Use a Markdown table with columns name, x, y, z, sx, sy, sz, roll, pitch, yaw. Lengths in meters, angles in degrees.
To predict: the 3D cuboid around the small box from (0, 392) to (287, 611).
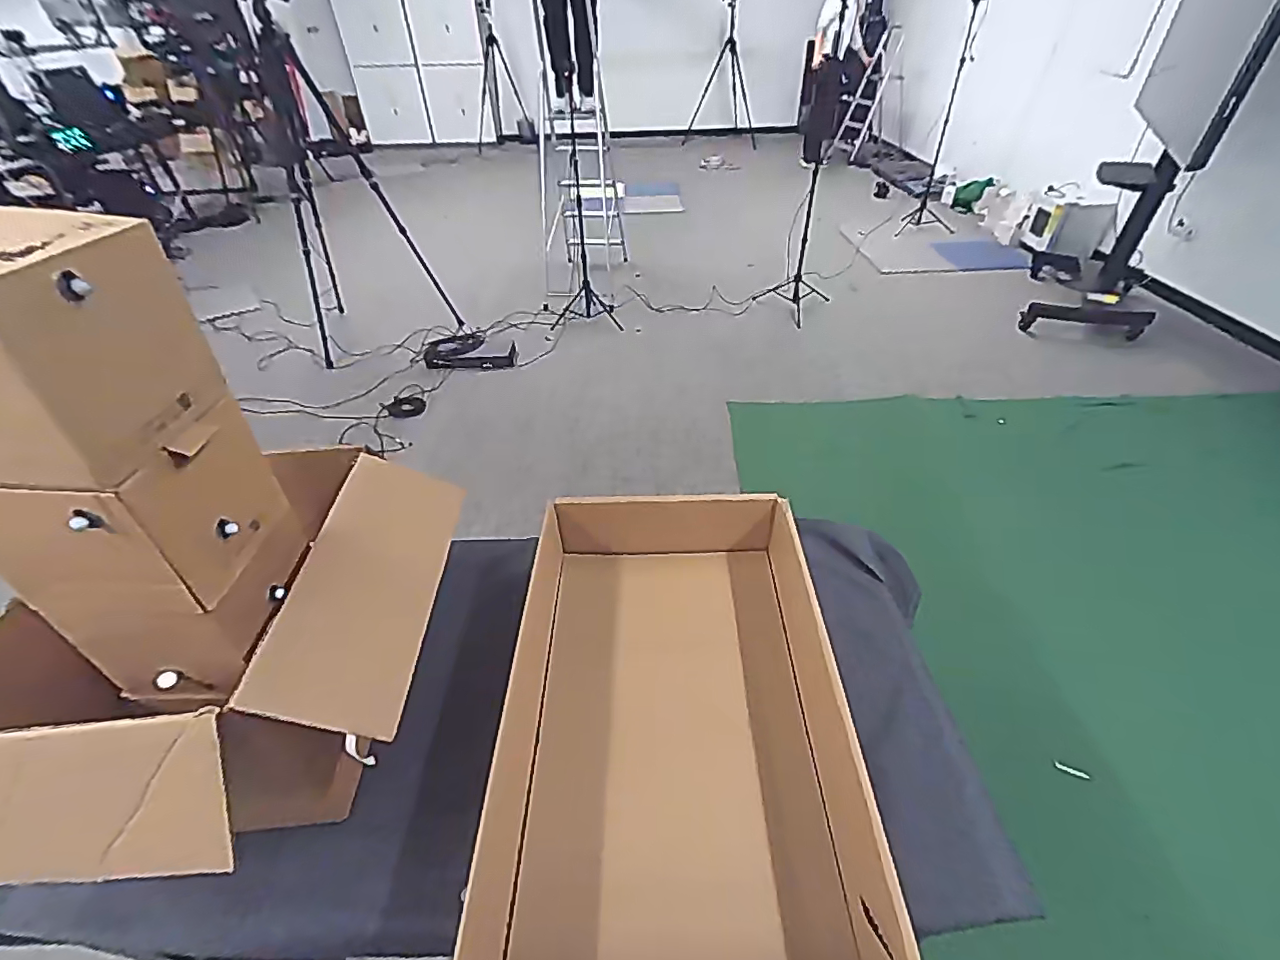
| name | x | y | z | sx | sy | sz | roll | pitch | yaw |
| --- | --- | --- | --- | --- | --- | --- | --- | --- | --- |
| small box | -0.513 | 0.019 | 0.556 | 0.179 | 0.176 | 0.168 | 2 | 40 | -3 |

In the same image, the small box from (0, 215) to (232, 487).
| name | x | y | z | sx | sy | sz | roll | pitch | yaw |
| --- | --- | --- | --- | --- | --- | --- | --- | --- | --- |
| small box | -0.504 | -0.109 | 0.452 | 0.179 | 0.176 | 0.168 | 3 | 40 | -2 |
